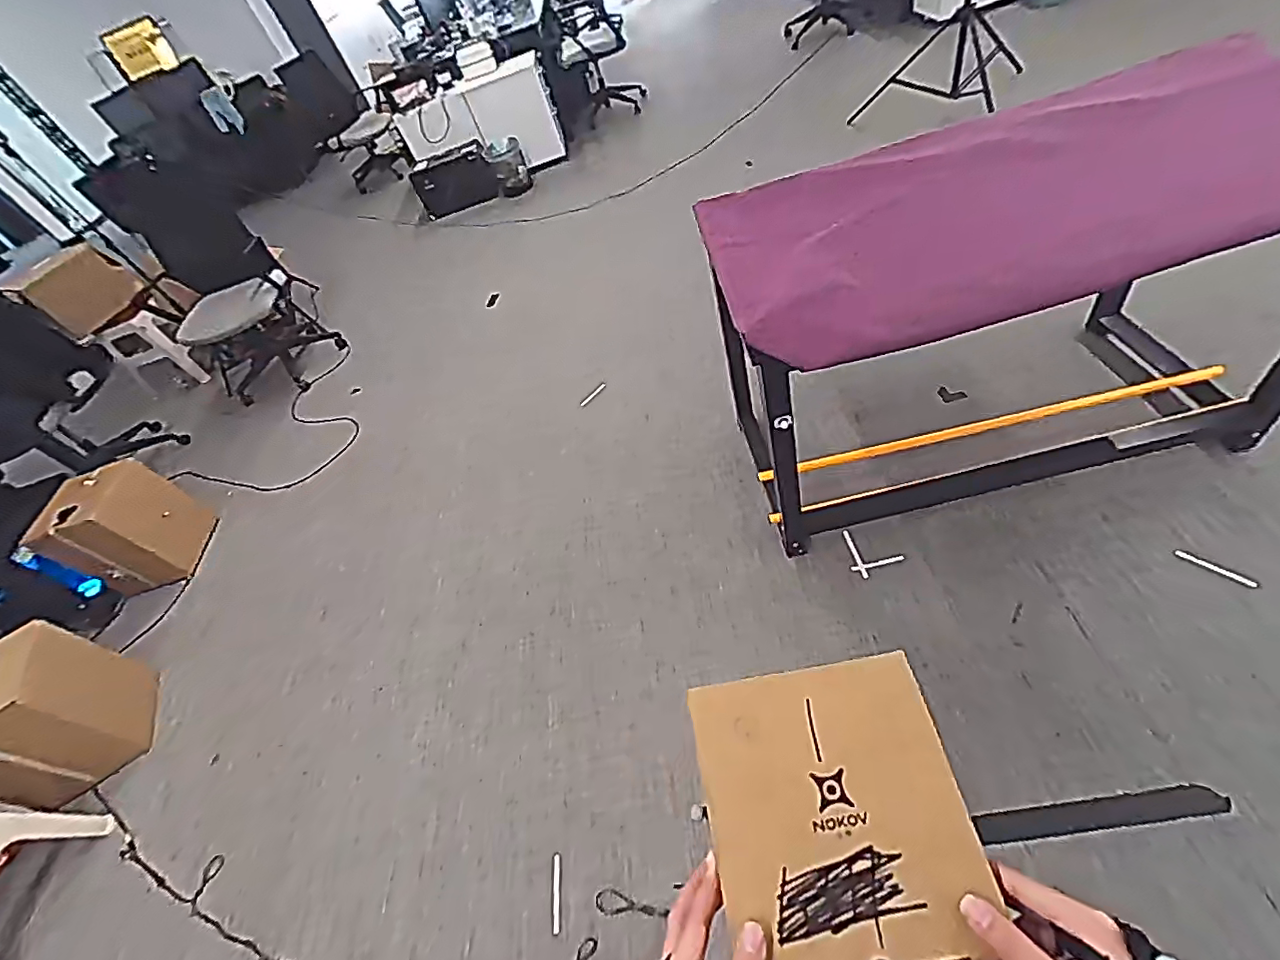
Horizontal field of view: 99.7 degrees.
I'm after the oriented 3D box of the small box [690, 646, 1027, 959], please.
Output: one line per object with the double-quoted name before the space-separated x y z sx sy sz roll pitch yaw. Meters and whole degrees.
"small box" 0.137 0.246 0.415 0.168 0.176 0.179 -10 58 1
